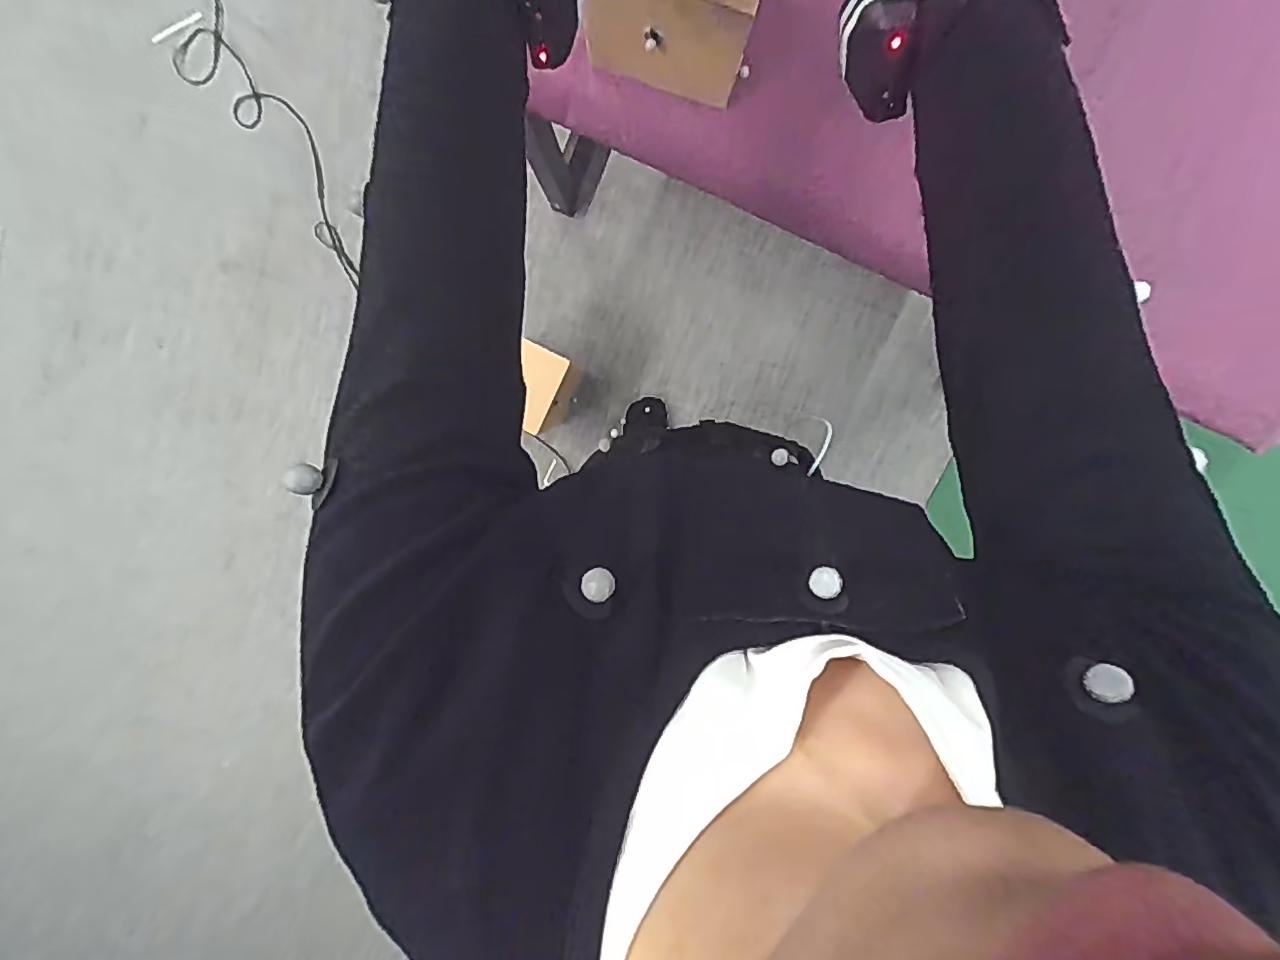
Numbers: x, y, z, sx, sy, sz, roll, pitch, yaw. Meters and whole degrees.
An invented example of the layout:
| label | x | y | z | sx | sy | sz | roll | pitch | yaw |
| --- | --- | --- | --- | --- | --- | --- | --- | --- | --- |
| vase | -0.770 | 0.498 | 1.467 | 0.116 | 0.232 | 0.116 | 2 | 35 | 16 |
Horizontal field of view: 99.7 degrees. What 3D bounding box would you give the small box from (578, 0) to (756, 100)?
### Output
| label | x | y | z | sx | sy | sz | roll | pitch | yaw |
| --- | --- | --- | --- | --- | --- | --- | --- | --- | --- |
| small box | 0.041 | -0.545 | 0.571 | 0.179 | 0.176 | 0.168 | 17 | 98 | -3 |
